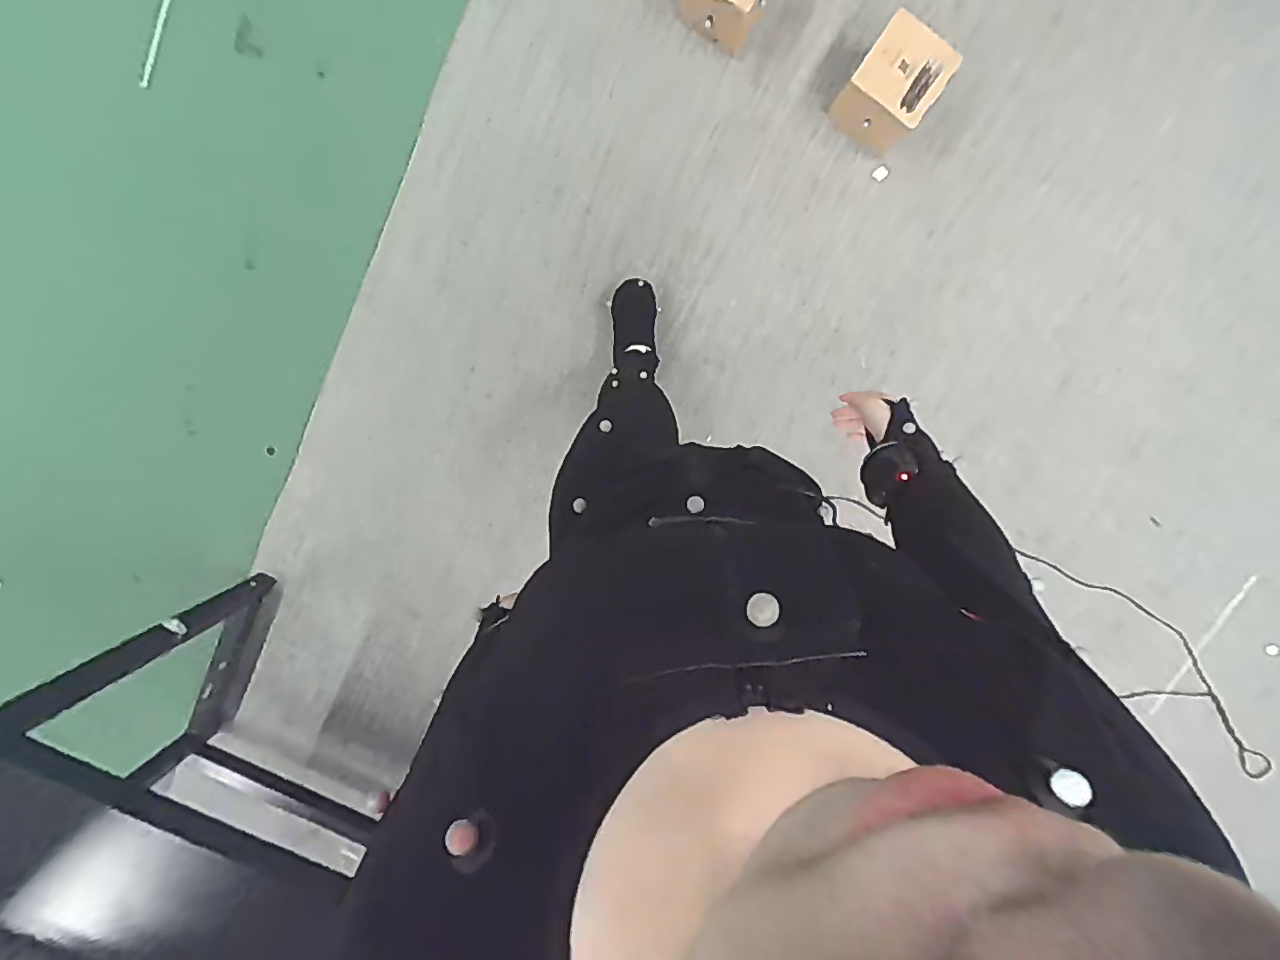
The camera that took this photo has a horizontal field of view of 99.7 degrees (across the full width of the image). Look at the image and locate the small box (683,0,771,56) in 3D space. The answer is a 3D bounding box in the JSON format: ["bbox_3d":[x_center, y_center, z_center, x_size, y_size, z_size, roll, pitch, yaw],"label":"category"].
[{"bbox_3d":[0.203,-1.094,1.185,0.168,0.176,0.179,32,102,-5],"label":"small box"}]
